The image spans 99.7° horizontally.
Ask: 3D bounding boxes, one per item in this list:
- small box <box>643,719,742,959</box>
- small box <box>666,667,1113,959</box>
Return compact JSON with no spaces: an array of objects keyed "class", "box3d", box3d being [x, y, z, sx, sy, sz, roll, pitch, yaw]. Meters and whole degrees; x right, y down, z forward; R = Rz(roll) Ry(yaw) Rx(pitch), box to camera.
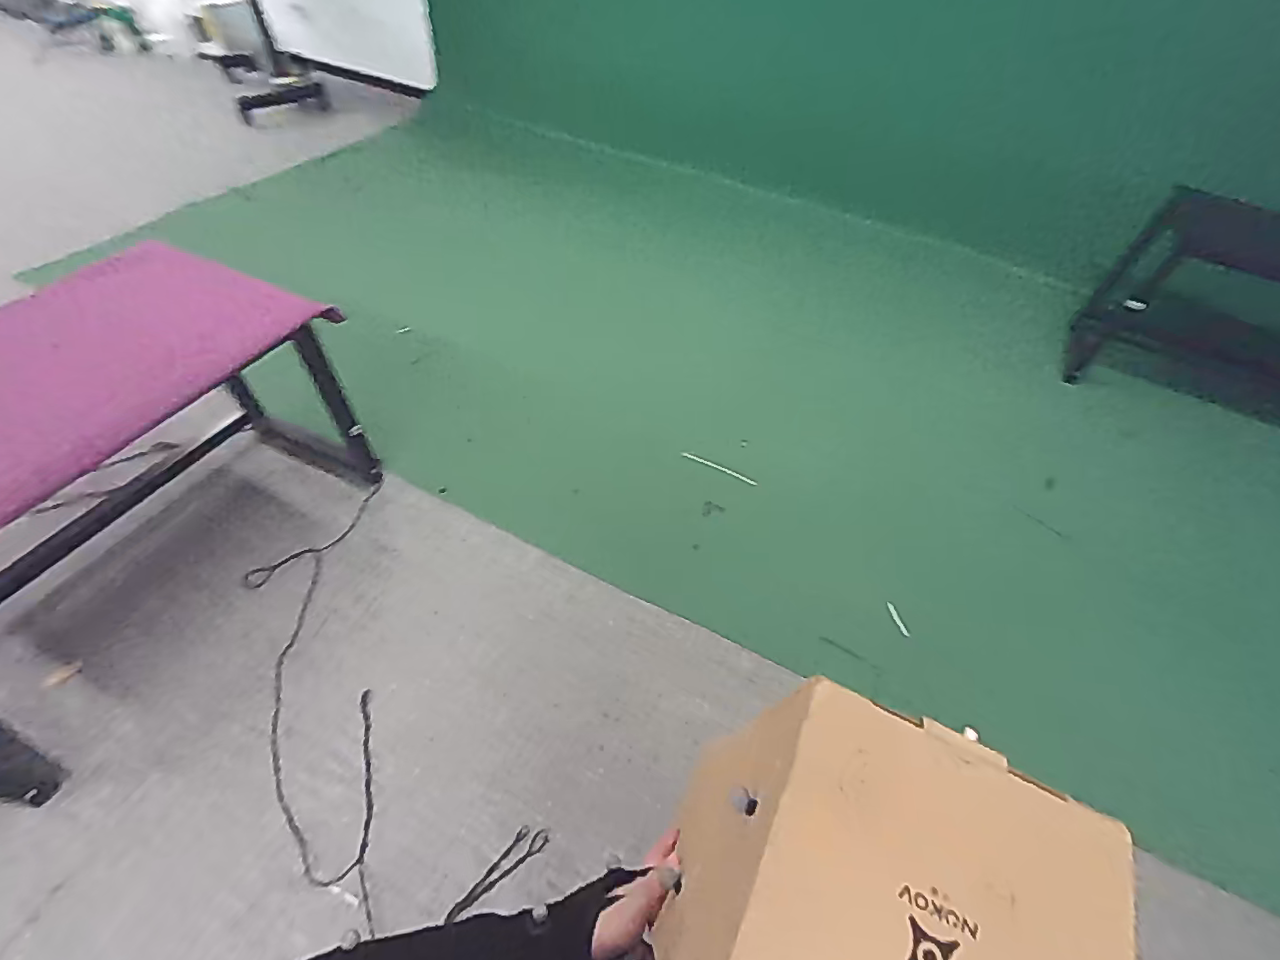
[{"class":"small box","box3d":[0.111,0.331,0.449,0.168,0.176,0.179,24,61,11]},{"class":"small box","box3d":[0.122,0.241,0.314,0.168,0.176,0.179,23,61,12]}]
